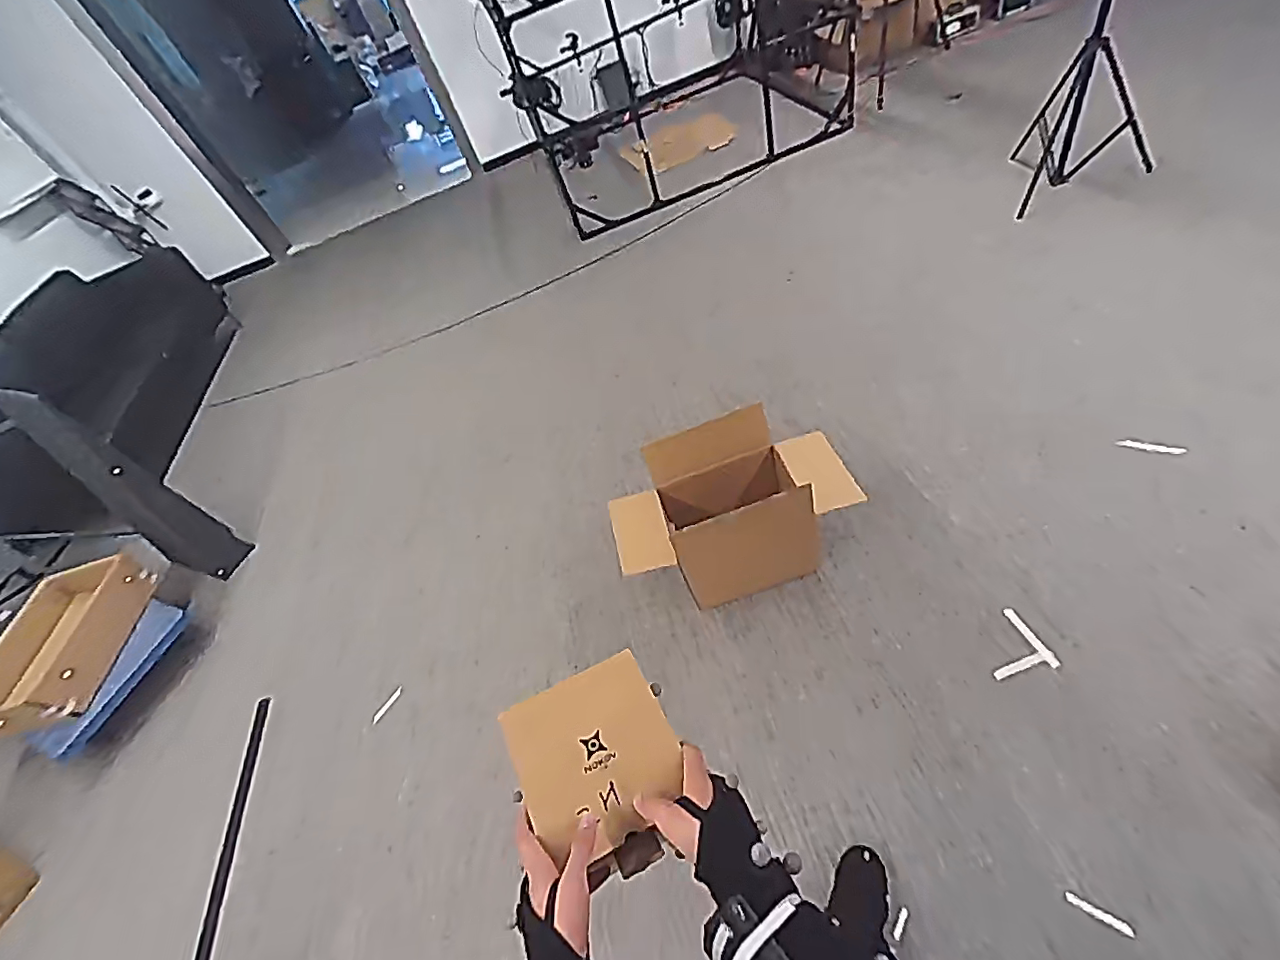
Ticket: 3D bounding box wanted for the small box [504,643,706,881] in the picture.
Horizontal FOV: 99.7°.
[{"bbox_3d":[-0.041,0.329,0.630,0.168,0.176,0.179,-22,53,-15],"label":"small box"}]
